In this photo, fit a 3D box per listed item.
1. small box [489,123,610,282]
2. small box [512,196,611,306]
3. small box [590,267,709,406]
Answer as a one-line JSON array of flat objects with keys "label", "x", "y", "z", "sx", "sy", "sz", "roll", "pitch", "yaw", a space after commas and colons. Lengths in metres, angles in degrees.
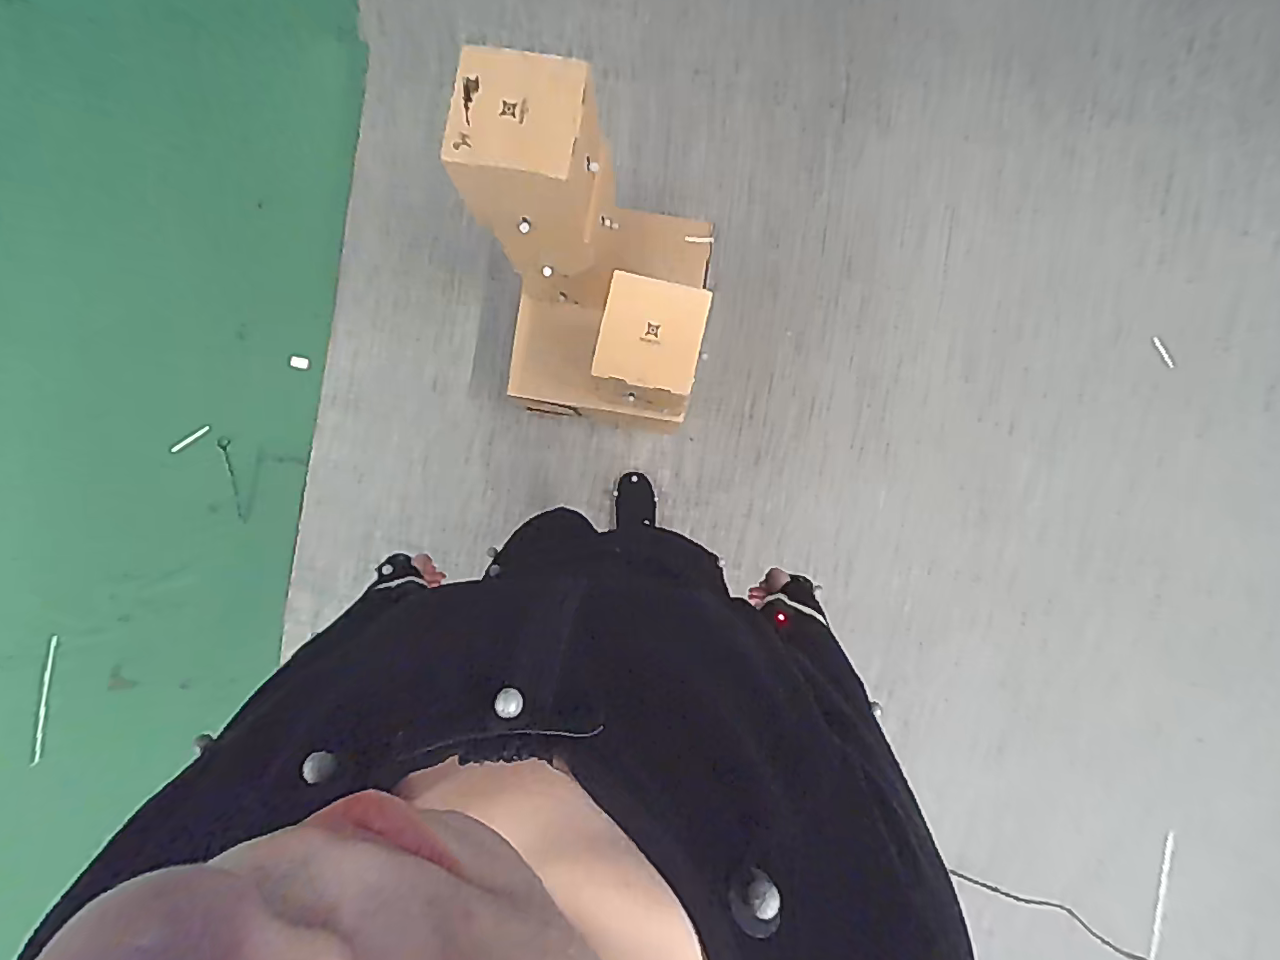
[{"label": "small box", "x": -0.150, "y": -0.480, "z": 0.958, "sx": 0.168, "sy": 0.176, "sz": 0.179, "roll": 11, "pitch": 88, "yaw": 1}, {"label": "small box", "x": -0.155, "y": -0.488, "z": 1.123, "sx": 0.168, "sy": 0.176, "sz": 0.179, "roll": 9, "pitch": 87, "yaw": 1}, {"label": "small box", "x": 0.013, "y": -0.242, "z": 0.953, "sx": 0.168, "sy": 0.176, "sz": 0.179, "roll": 12, "pitch": 89, "yaw": -1}]
